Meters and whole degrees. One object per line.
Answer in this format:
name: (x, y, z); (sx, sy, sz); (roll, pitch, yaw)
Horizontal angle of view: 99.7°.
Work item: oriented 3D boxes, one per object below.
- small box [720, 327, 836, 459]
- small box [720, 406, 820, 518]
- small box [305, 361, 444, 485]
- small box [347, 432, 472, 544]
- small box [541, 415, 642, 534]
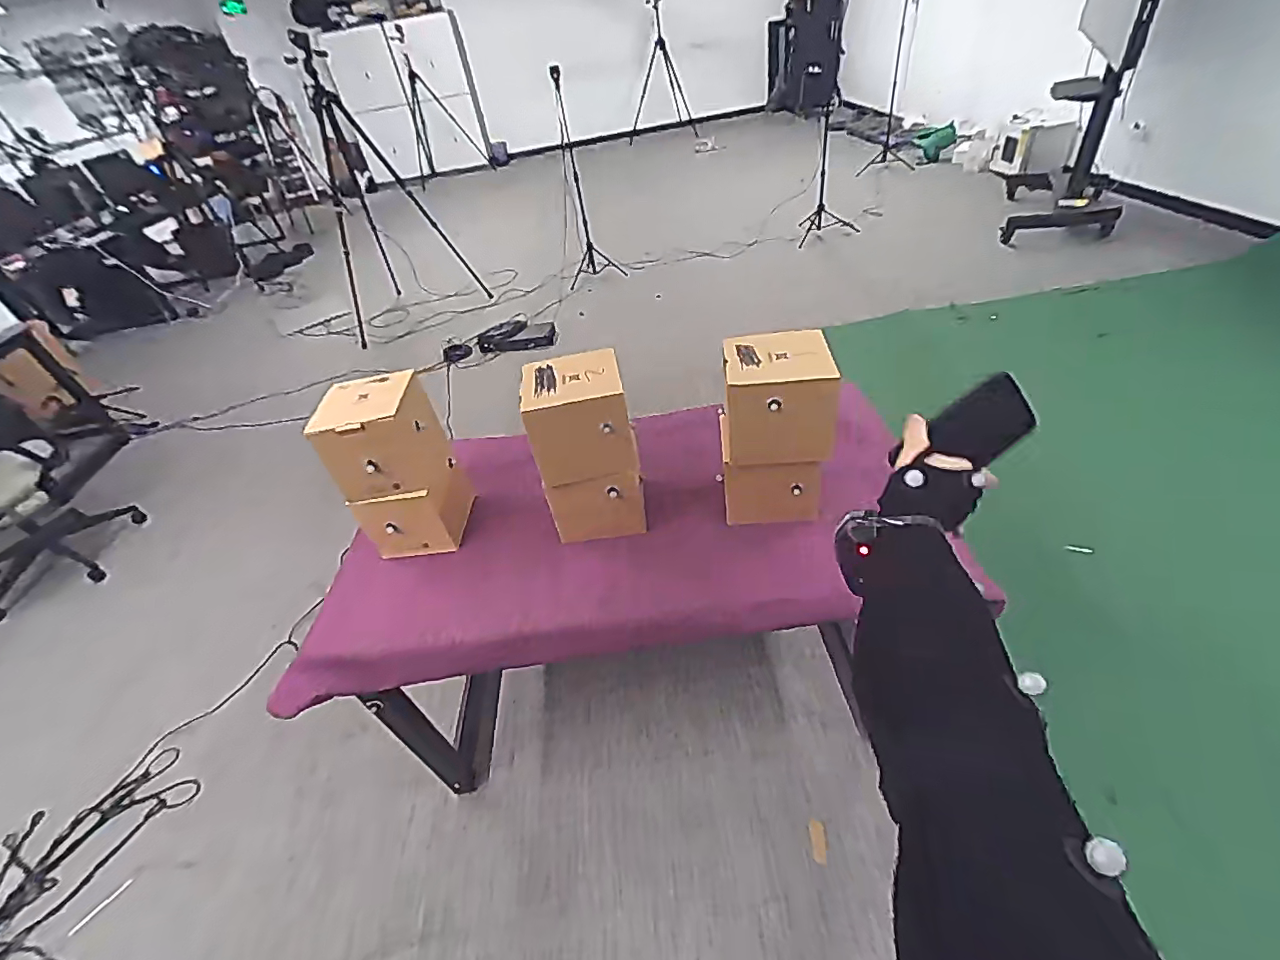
small box: (0.235, -0.150, 0.950); (0.179, 0.176, 0.168); (-2, 41, 8)
small box: (0.249, -0.038, 1.070); (0.179, 0.176, 0.168); (-3, 41, 10)
small box: (-0.499, -0.104, 1.049); (0.168, 0.176, 0.179); (-9, 42, 0)
small box: (-0.476, 0.023, 1.151); (0.168, 0.176, 0.179); (-6, 41, 5)
small box: (-0.089, -0.009, 1.105); (0.179, 0.176, 0.168); (-7, 41, 4)
